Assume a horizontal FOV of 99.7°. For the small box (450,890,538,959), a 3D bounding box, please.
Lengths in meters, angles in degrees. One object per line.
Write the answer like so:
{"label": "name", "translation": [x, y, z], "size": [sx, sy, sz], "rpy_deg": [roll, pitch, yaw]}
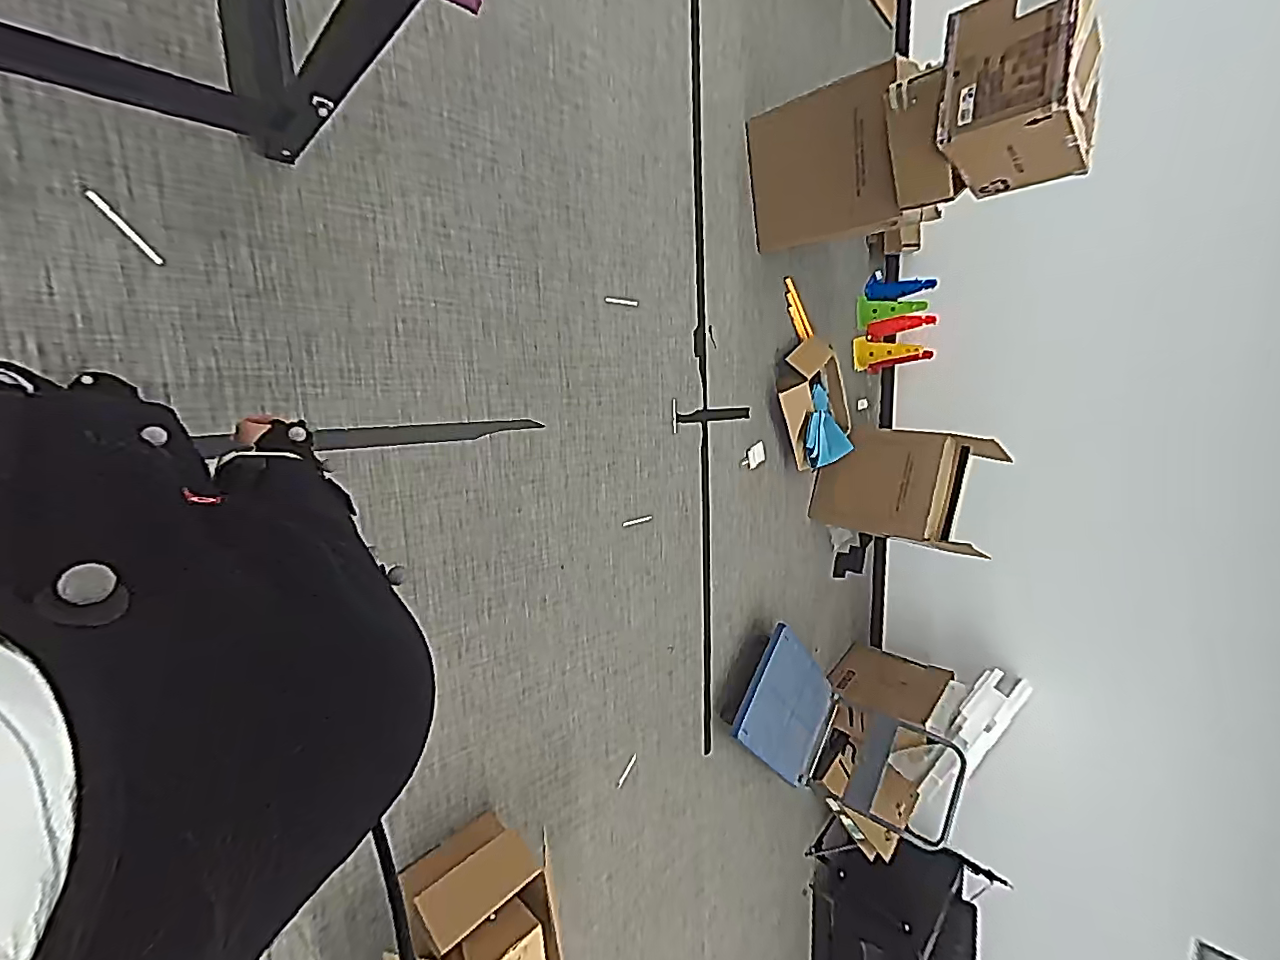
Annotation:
{"label": "small box", "translation": [-0.393, 1.275, 1.460], "size": [0.168, 0.176, 0.179], "rpy_deg": [-14, 105, -45]}
